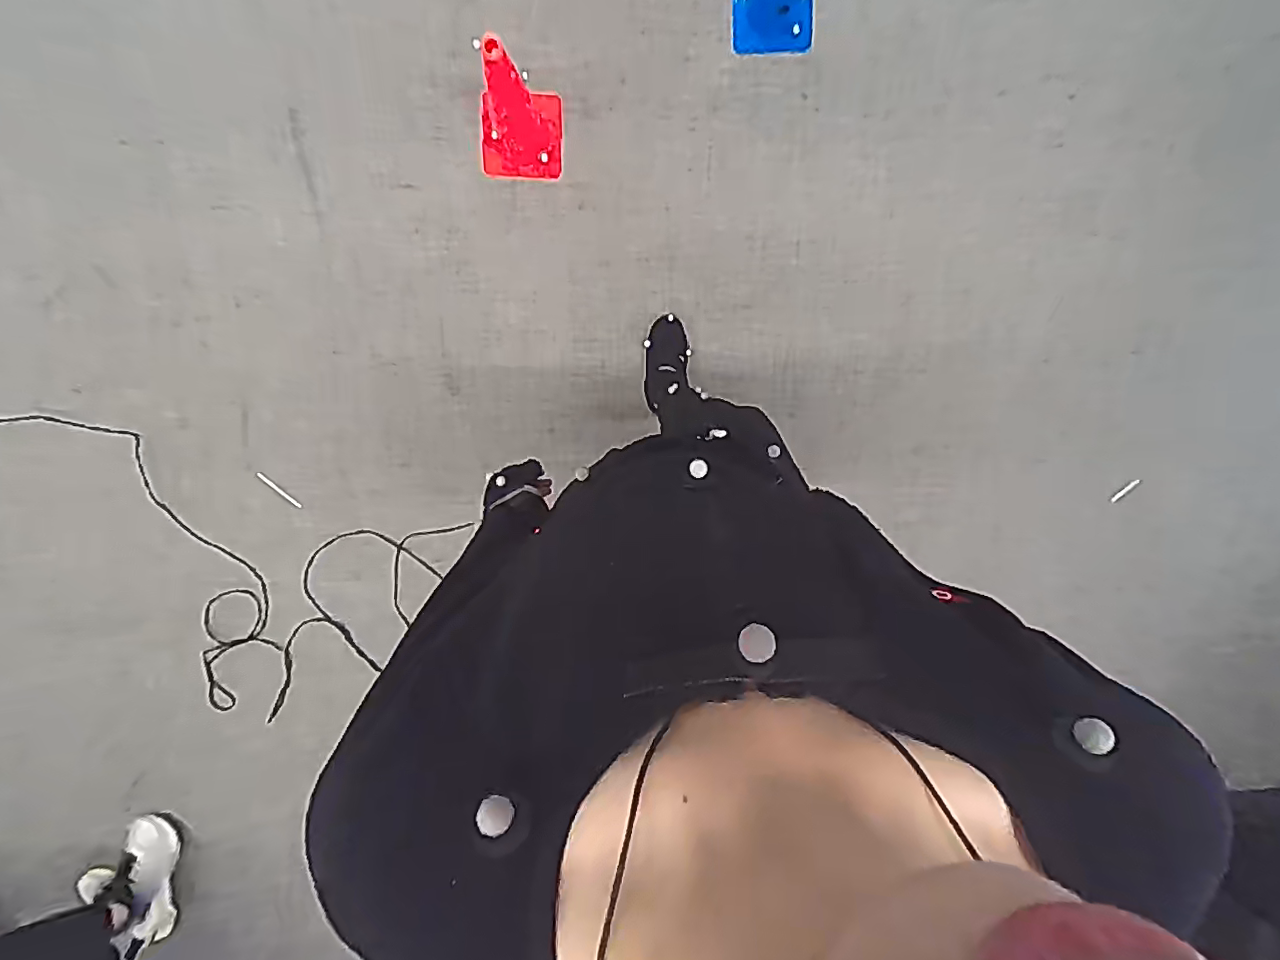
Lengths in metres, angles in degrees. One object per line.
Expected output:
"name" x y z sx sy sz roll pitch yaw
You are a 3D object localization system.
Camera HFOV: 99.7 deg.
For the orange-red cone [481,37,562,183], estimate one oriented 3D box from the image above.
"orange-red cone" -0.285 -0.831 1.178 0.198 0.360 0.199 2 97 -4
